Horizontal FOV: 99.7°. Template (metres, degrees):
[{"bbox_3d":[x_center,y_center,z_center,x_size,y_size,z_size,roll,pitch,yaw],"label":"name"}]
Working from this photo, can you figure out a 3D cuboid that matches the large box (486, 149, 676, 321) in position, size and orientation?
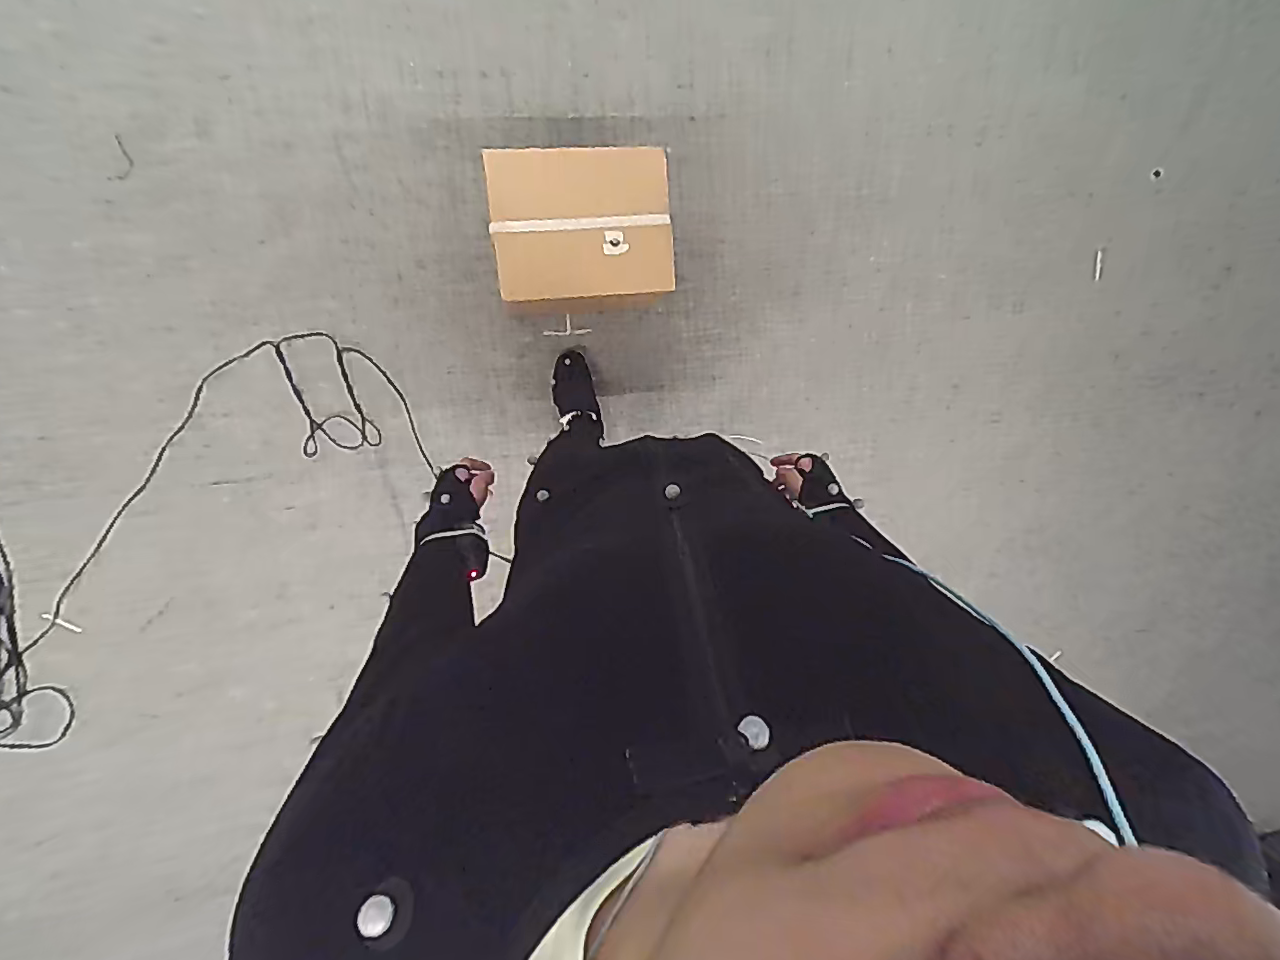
[{"bbox_3d":[-0.151,-0.597,1.367,0.408,0.320,0.320,-8,101,-9],"label":"large box"}]
